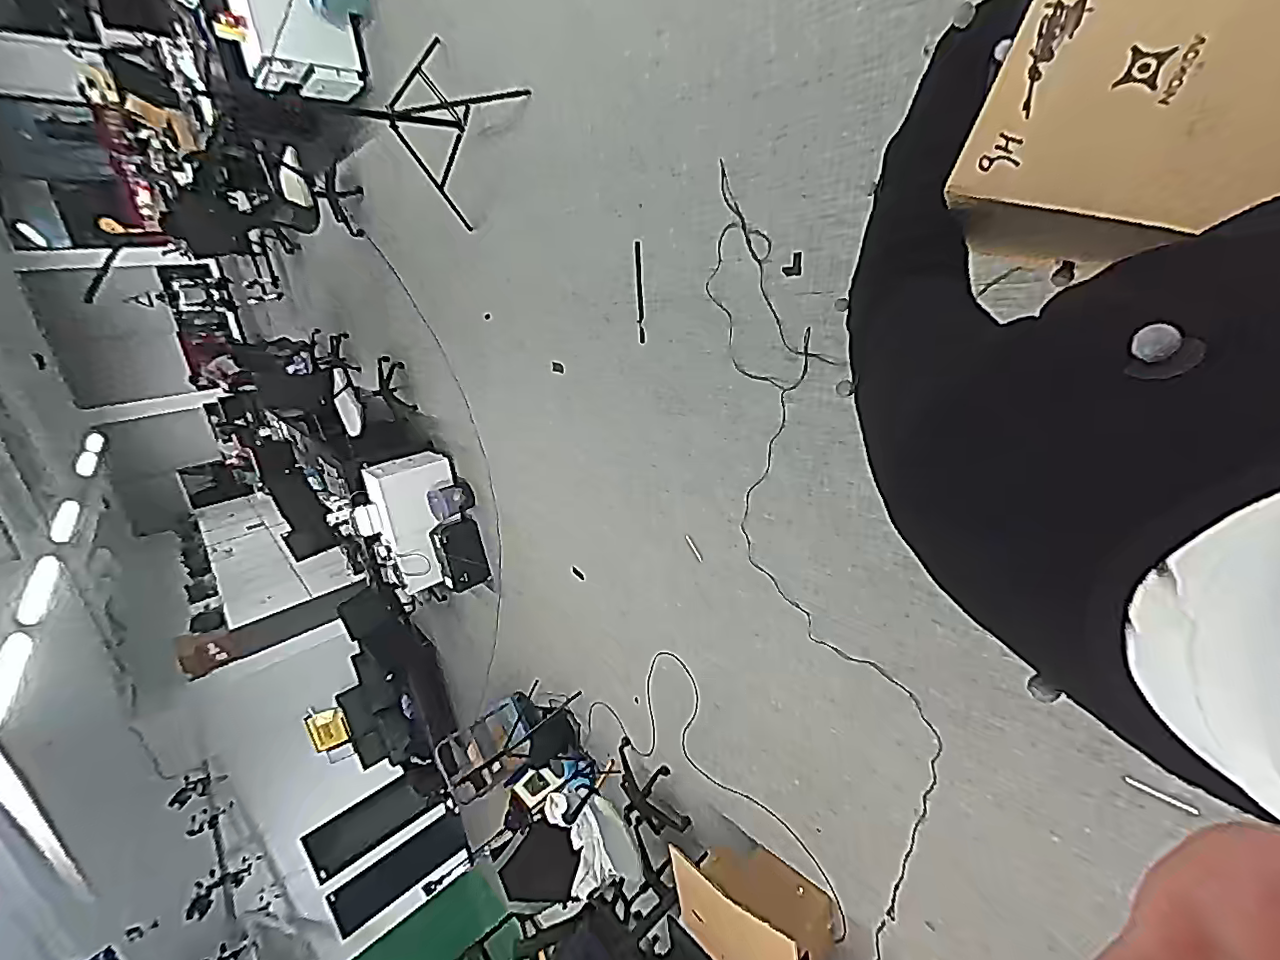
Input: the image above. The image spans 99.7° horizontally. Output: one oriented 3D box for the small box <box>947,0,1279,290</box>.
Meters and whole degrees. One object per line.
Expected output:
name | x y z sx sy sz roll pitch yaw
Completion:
small box | 0.359 -0.251 0.392 0.179 0.176 0.168 30 110 29
